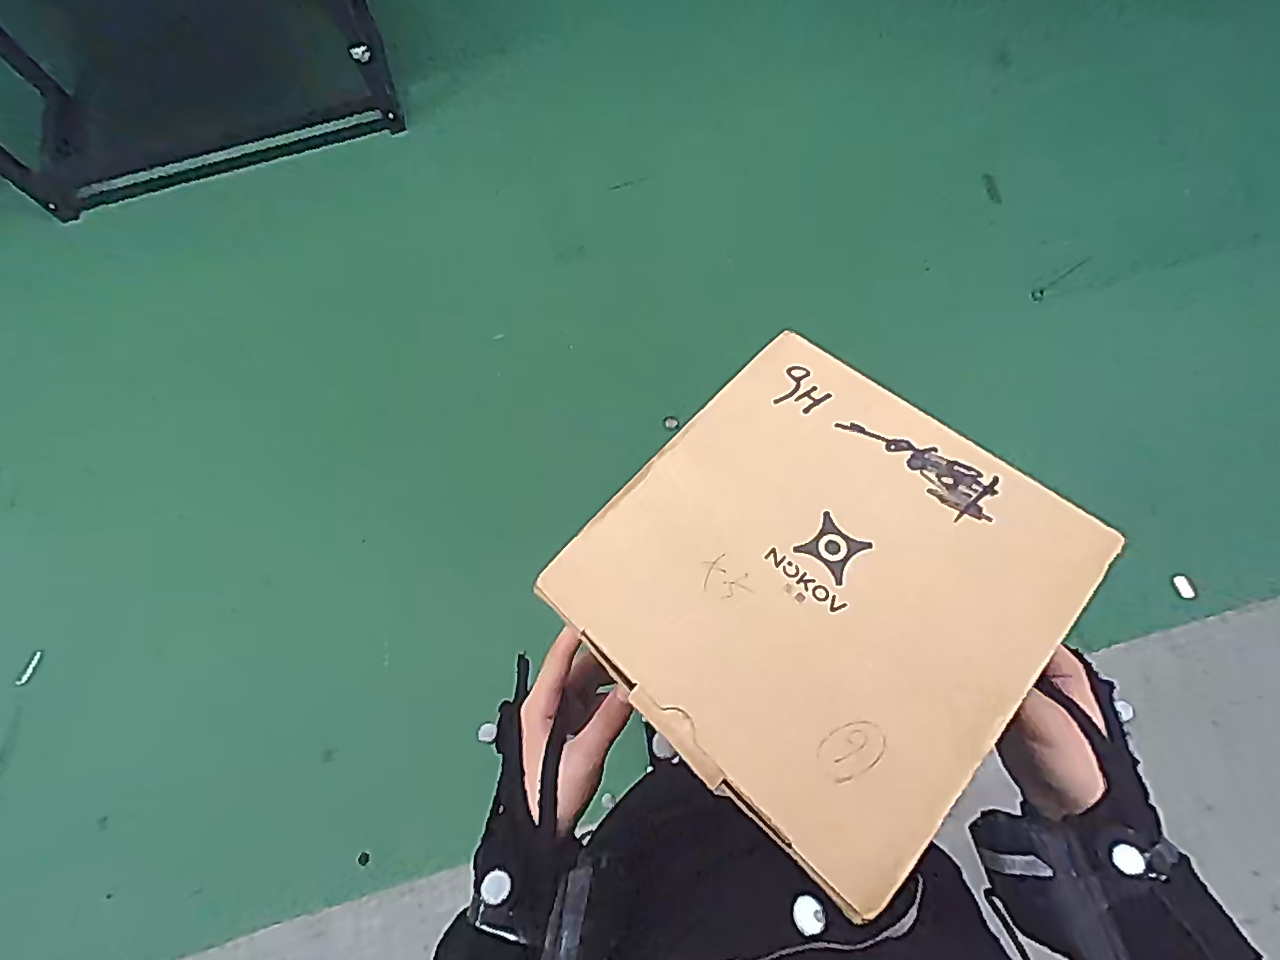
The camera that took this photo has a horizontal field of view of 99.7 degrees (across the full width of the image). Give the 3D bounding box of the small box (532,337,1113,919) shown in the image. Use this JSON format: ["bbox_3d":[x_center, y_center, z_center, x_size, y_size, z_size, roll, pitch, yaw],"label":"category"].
[{"bbox_3d":[0.078,0.068,0.292,0.168,0.176,0.179,40,76,21],"label":"small box"}]
